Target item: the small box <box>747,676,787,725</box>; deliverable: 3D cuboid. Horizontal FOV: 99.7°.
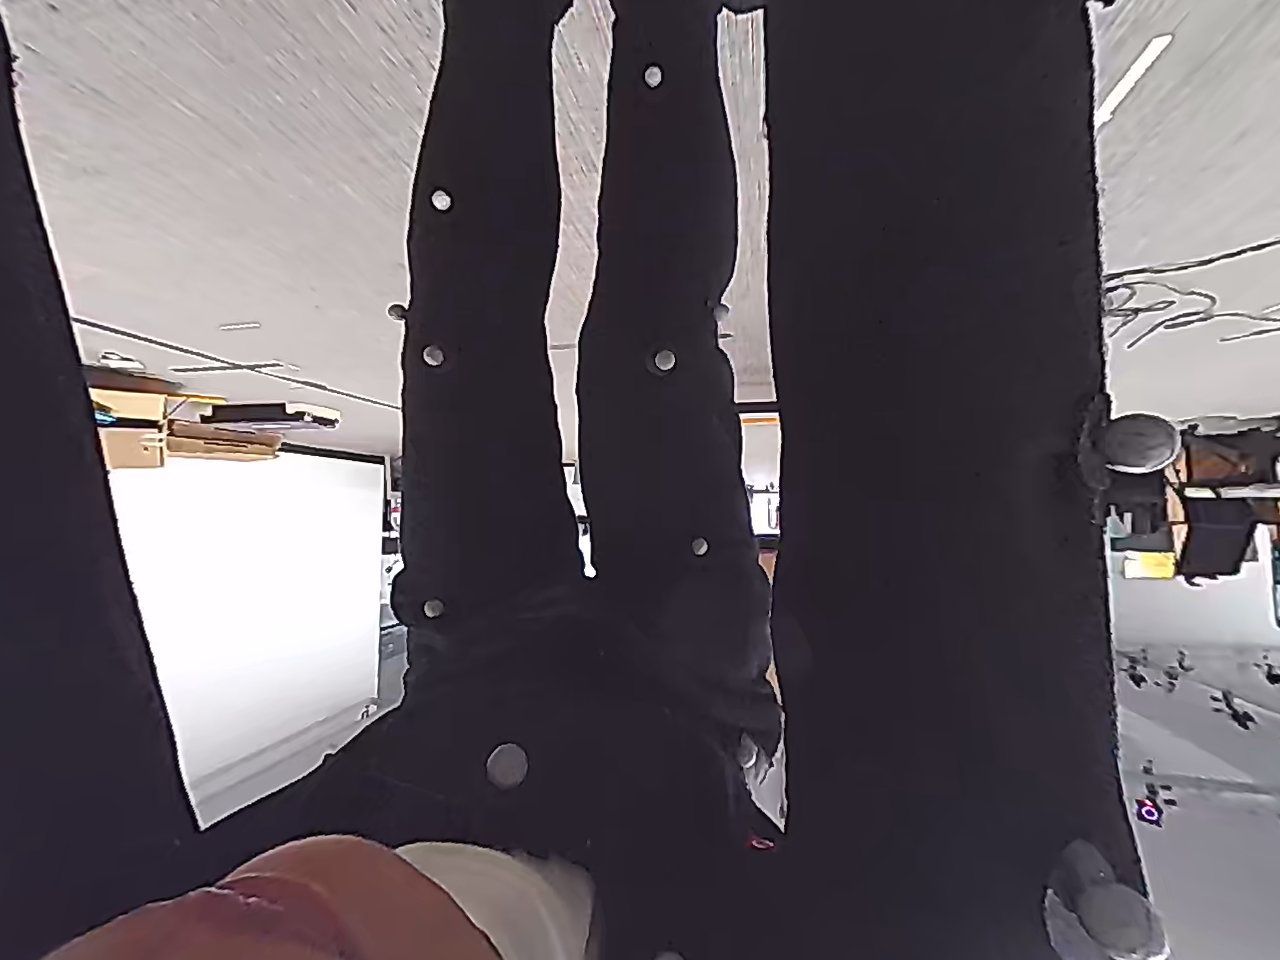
[{"bbox_3d":[0.599,1.039,2.559,0.179,0.176,0.168,-1,177,14],"label":"small box"}]
